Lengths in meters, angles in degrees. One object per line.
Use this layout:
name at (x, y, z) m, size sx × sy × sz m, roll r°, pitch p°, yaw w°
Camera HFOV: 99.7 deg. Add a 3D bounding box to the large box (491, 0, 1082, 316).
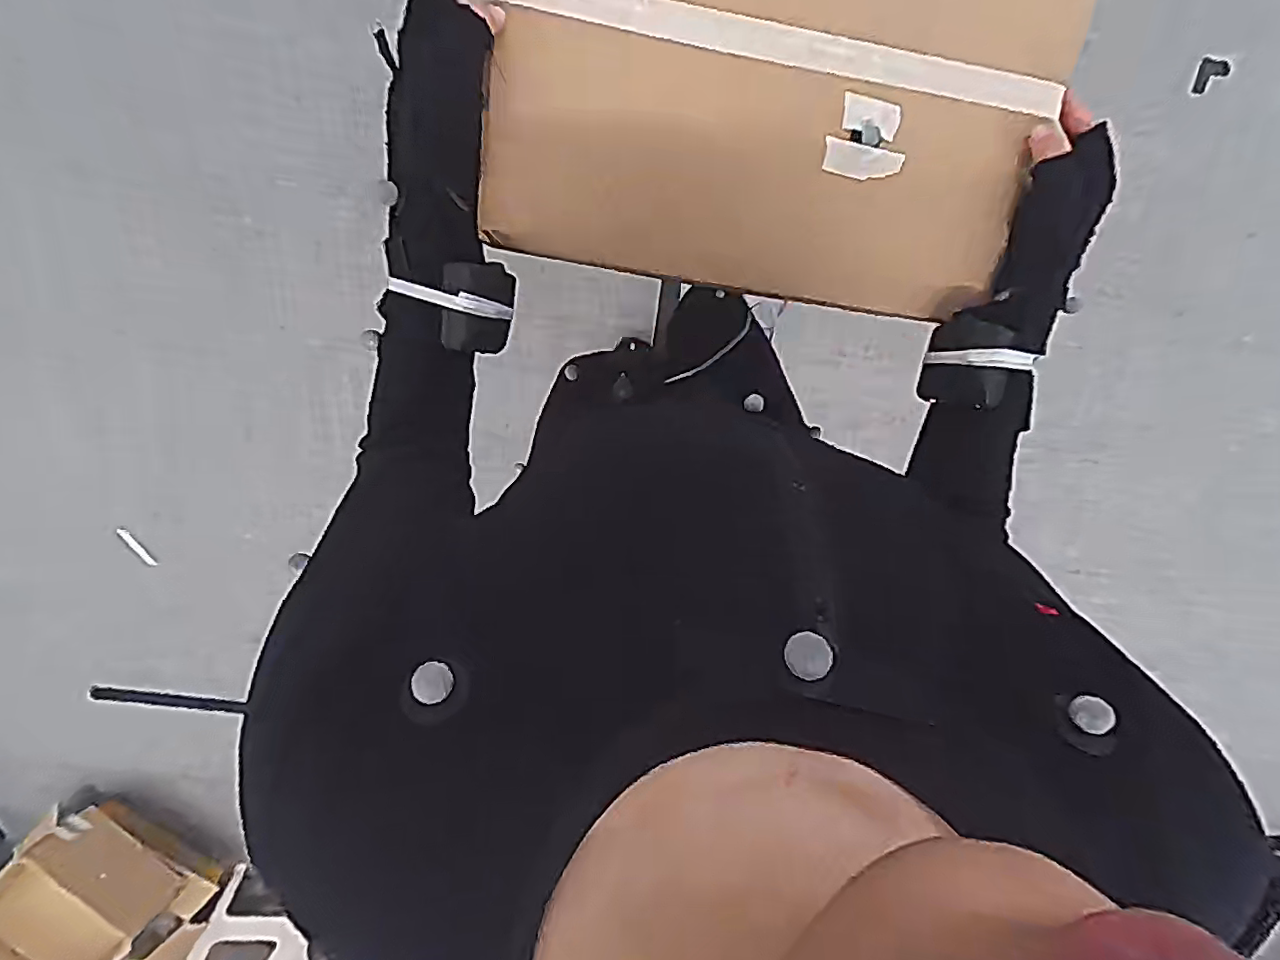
large box at (0.092, -0.354, 0.517) m, size 0.408 × 0.320 × 0.320 m, roll 7°, pitch 111°, yaw -7°
